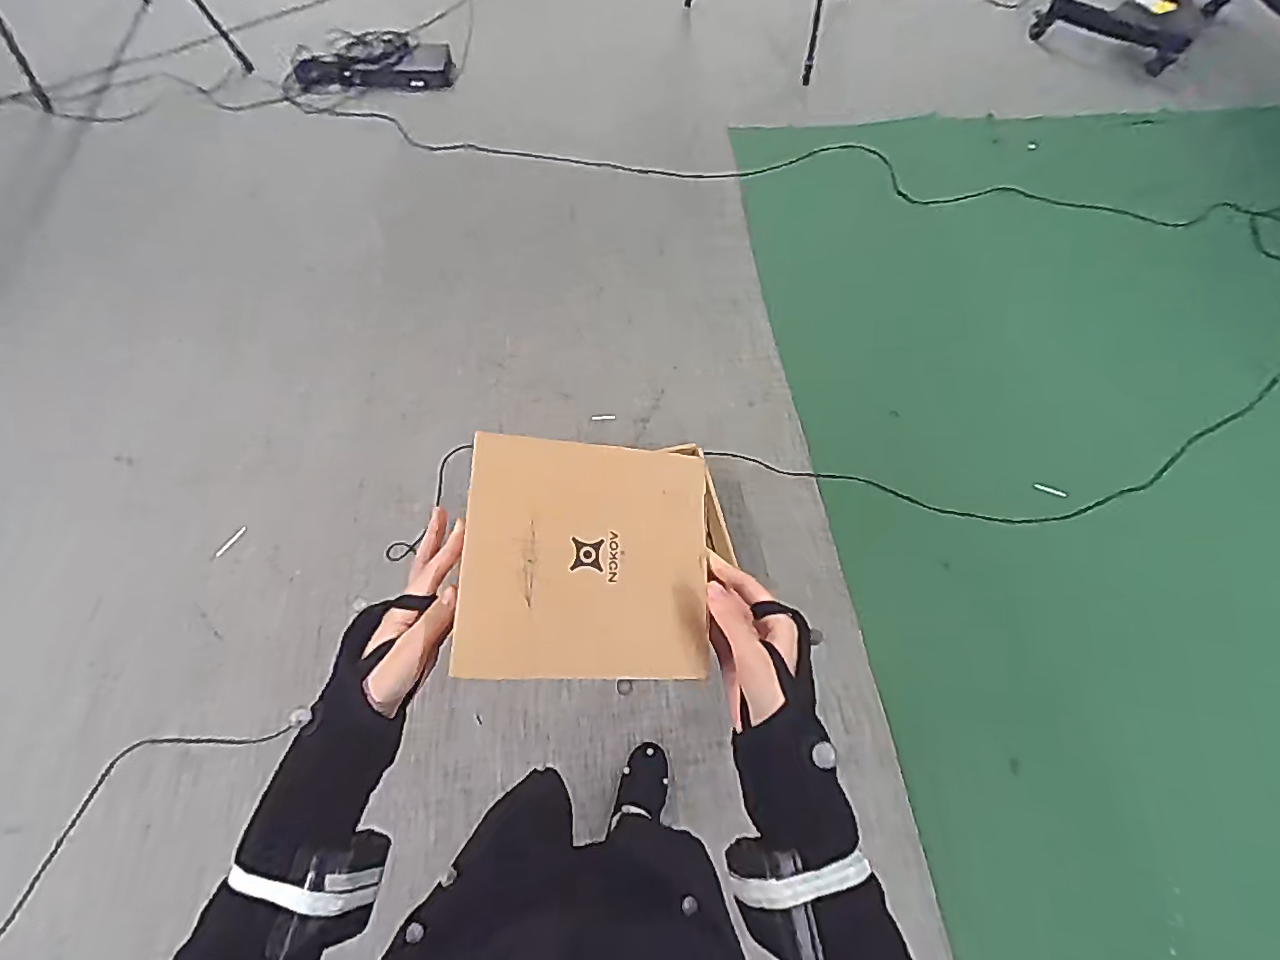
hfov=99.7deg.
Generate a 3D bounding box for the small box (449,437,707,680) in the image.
[{"bbox_3d":[-0.056,0.076,0.456,0.179,0.176,0.168,5,73,-14],"label":"small box"}]
